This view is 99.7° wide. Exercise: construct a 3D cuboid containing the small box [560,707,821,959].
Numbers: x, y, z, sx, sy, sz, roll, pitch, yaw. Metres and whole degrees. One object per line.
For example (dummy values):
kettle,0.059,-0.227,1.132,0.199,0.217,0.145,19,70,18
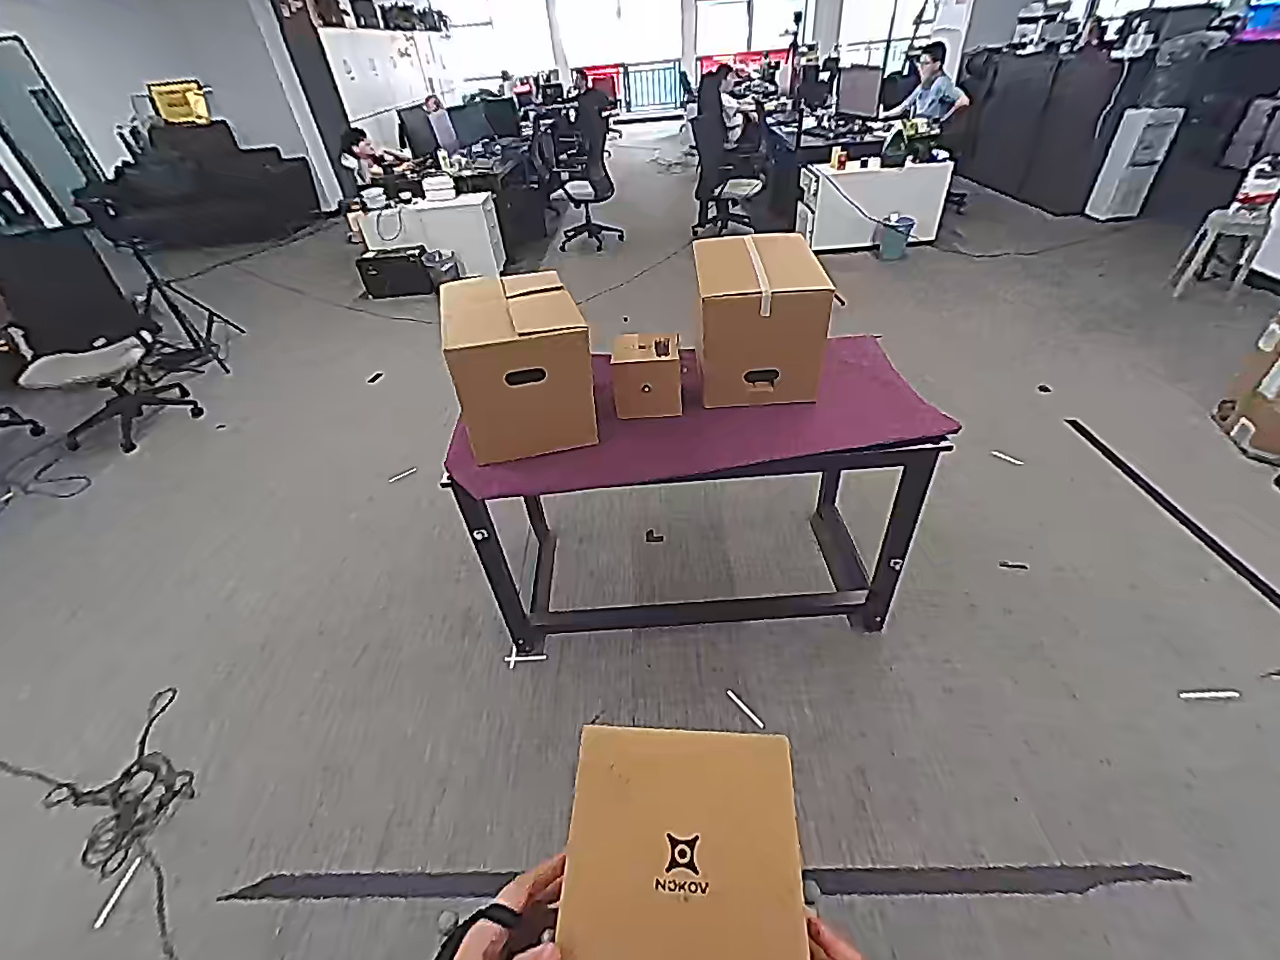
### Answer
small box,0.038,0.306,0.438,0.168,0.176,0.179,1,49,4
